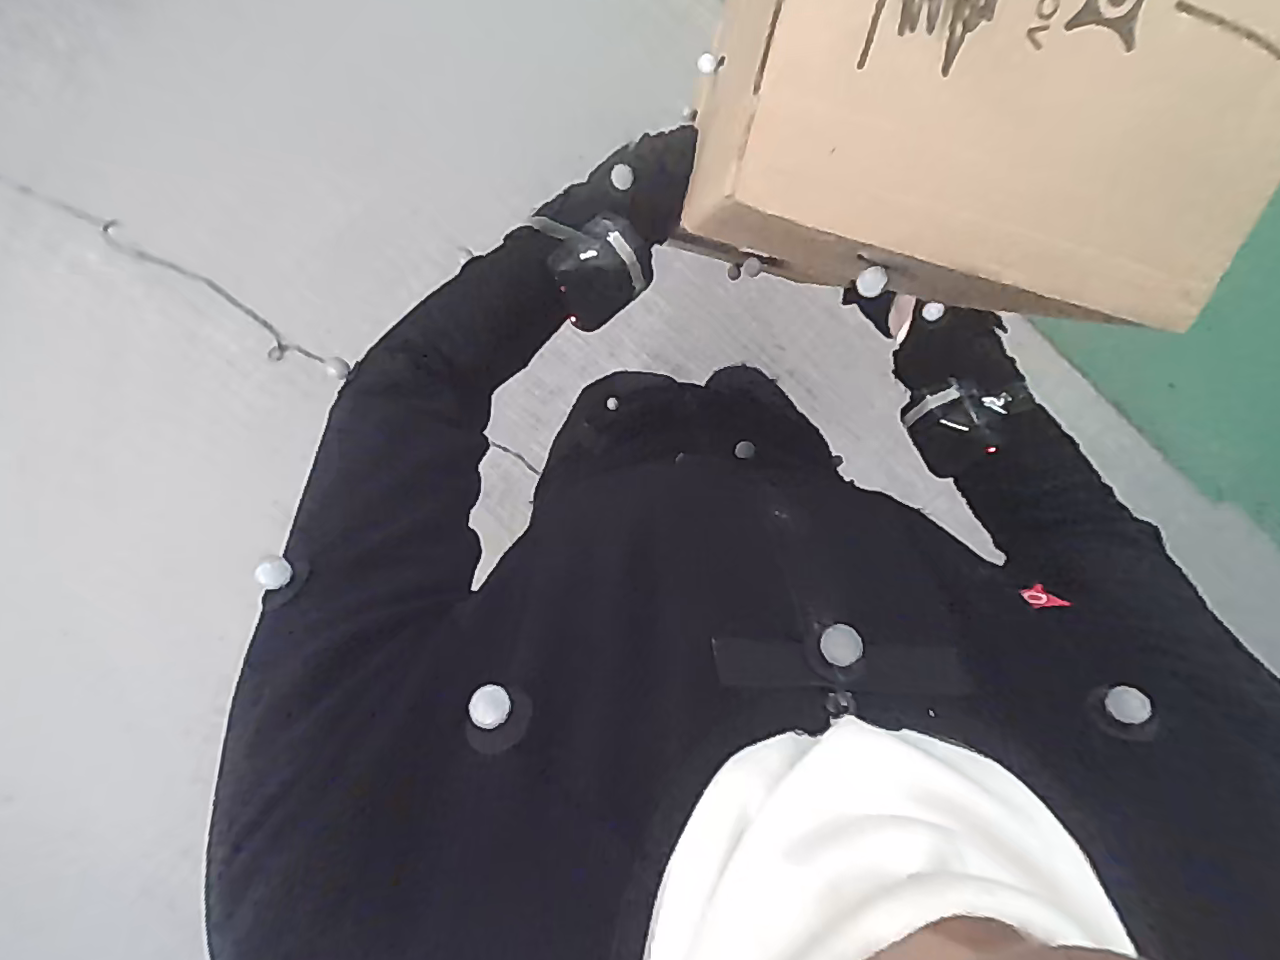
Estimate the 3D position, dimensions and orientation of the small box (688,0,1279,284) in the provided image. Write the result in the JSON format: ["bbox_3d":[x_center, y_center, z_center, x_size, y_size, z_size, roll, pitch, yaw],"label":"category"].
[{"bbox_3d":[0.126,-0.190,0.234,0.179,0.176,0.168,12,112,-5],"label":"small box"}]

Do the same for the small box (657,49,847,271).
[{"bbox_3d":[0.121,-0.315,0.535,0.179,0.176,0.168,12,111,-6],"label":"small box"}]

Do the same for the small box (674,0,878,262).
[{"bbox_3d":[0.122,-0.263,0.381,0.168,0.176,0.179,12,113,-4],"label":"small box"}]
